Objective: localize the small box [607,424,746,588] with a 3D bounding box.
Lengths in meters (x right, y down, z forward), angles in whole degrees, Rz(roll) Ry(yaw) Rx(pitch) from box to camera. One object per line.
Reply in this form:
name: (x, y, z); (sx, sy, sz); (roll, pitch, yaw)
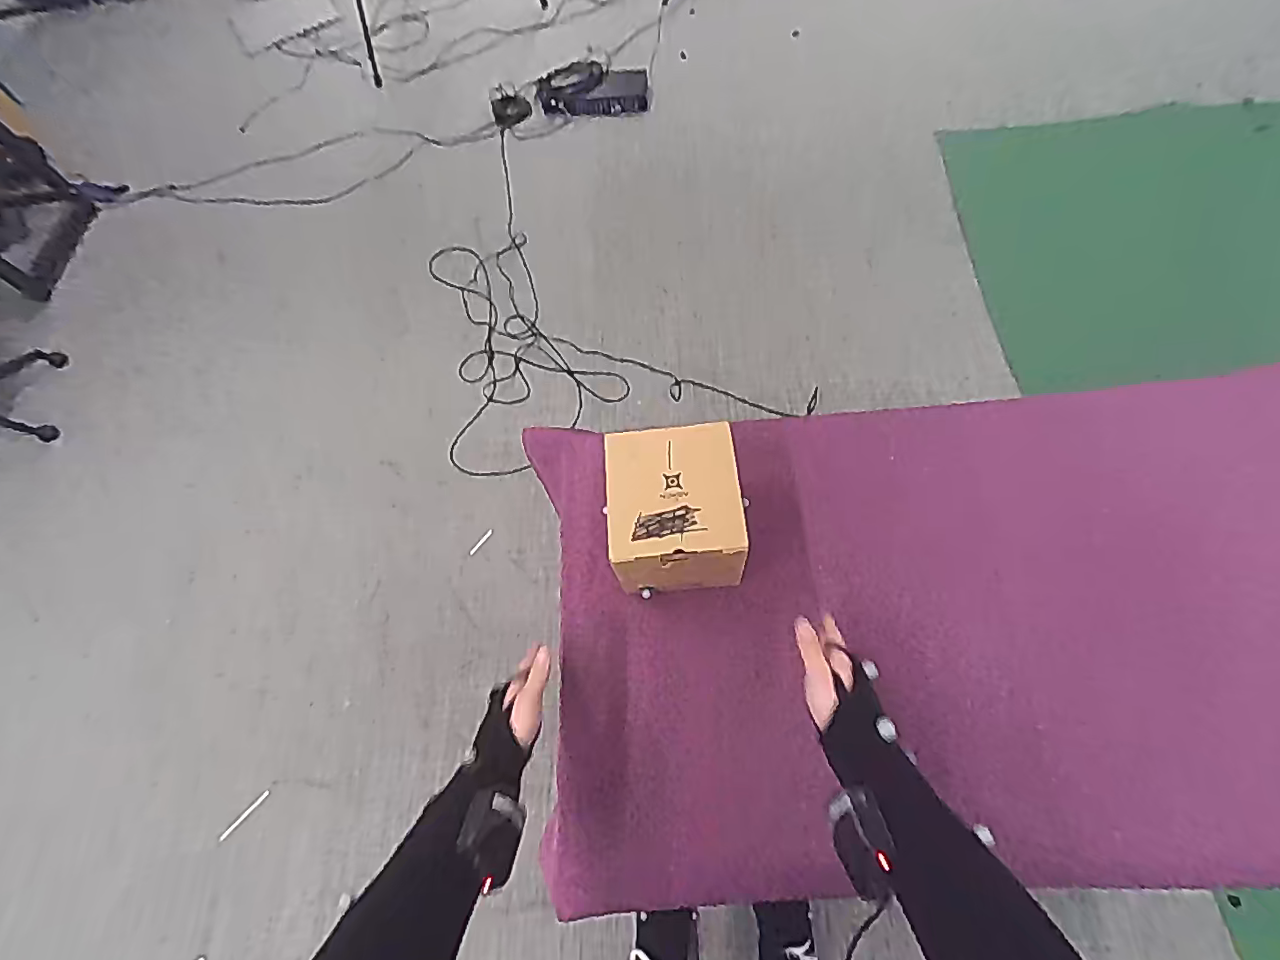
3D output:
small box: (0.048, 0.045, 0.741); (0.168, 0.176, 0.179); (-5, 64, 3)
